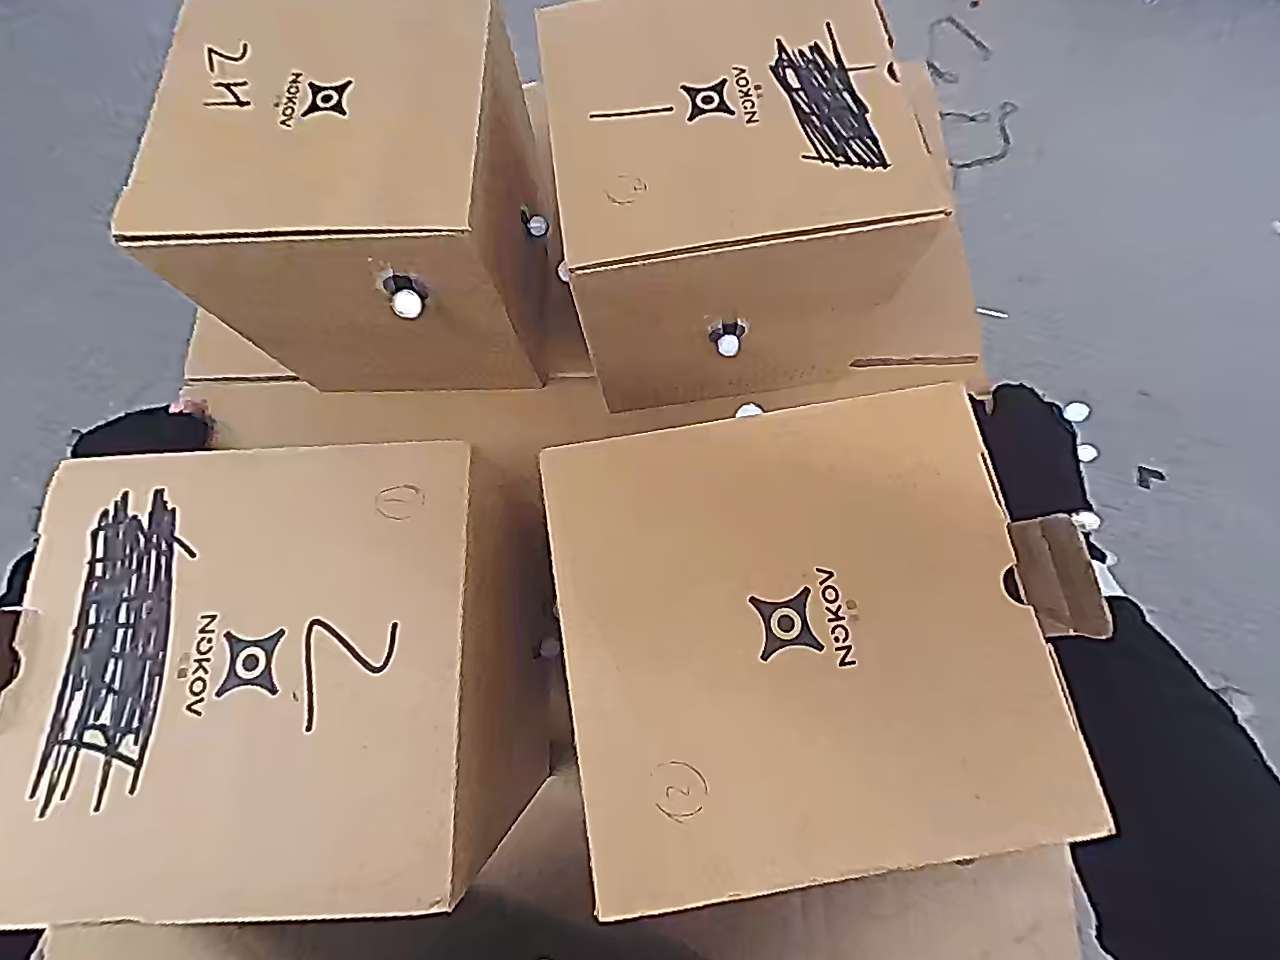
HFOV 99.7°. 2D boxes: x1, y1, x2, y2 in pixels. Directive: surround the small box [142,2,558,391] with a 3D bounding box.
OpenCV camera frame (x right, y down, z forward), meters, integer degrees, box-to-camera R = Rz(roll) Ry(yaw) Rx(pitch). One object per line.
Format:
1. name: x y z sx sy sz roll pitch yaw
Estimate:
1. small box: -0.157 -0.170 0.365 0.179 0.176 0.168 1 73 3
